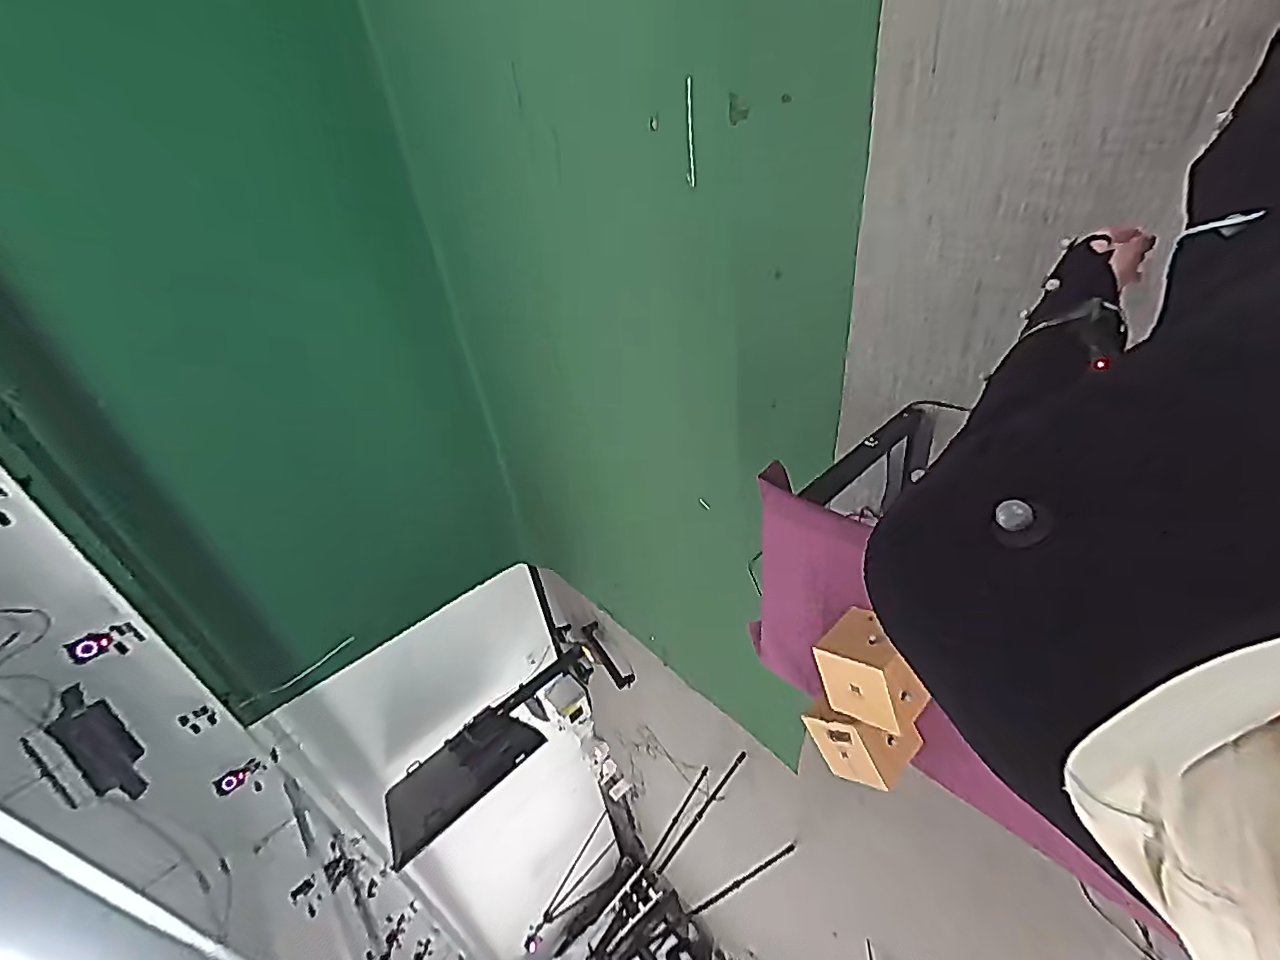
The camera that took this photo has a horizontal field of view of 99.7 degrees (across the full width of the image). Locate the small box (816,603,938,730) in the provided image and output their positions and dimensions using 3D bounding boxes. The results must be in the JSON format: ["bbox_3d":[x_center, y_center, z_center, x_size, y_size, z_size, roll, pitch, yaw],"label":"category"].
[{"bbox_3d":[0.520,0.395,1.182,0.168,0.176,0.179,2,120,54],"label":"small box"}]

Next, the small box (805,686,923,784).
[{"bbox_3d":[0.545,0.587,1.312,0.179,0.176,0.168,60,149,-4],"label":"small box"}]
